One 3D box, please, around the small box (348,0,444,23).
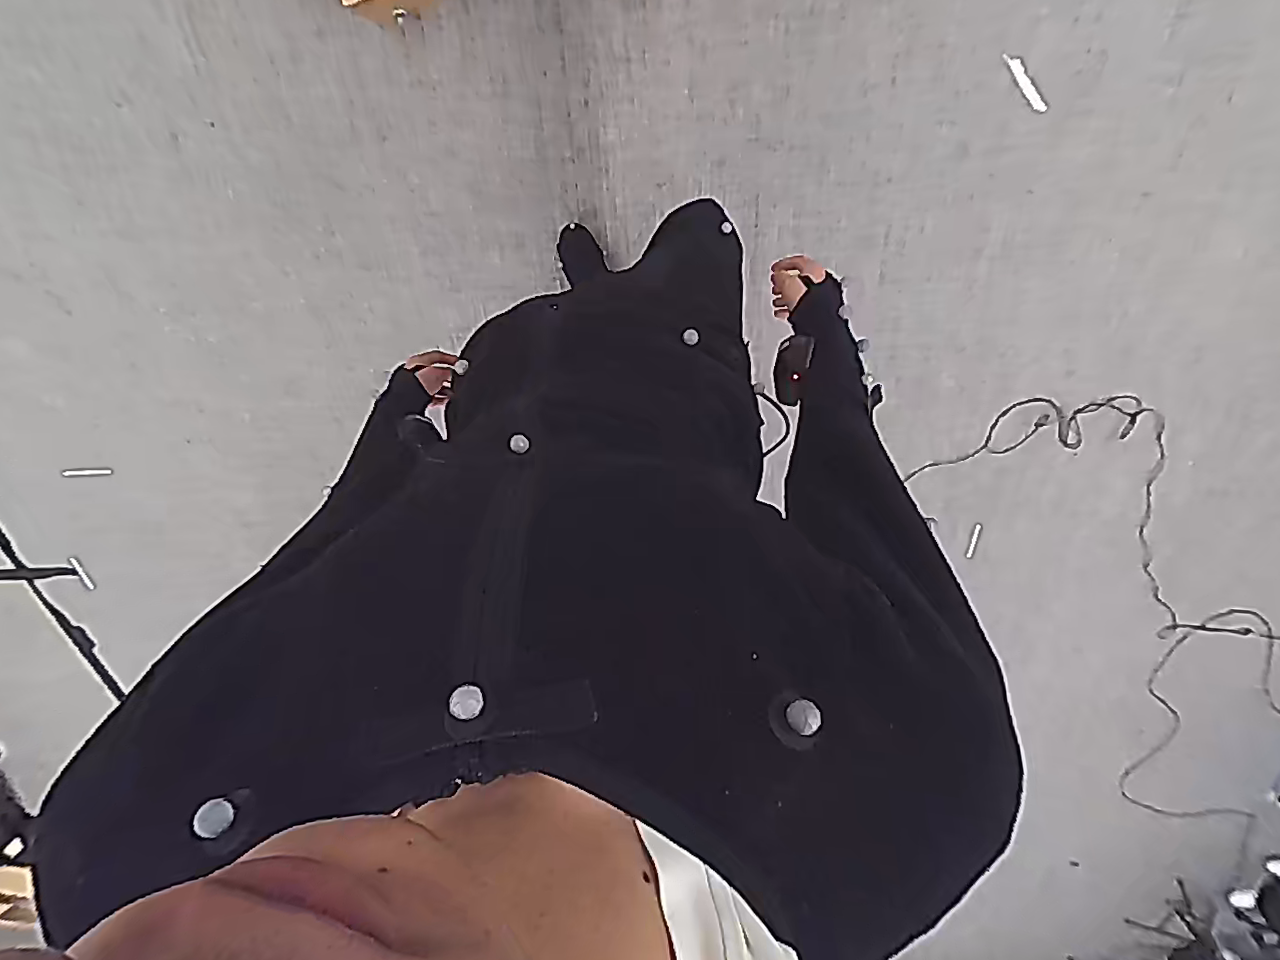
[{"bbox_3d":[-0.518,-1.058,1.074,0.168,0.176,0.179,-12,118,6],"label":"small box"}]
